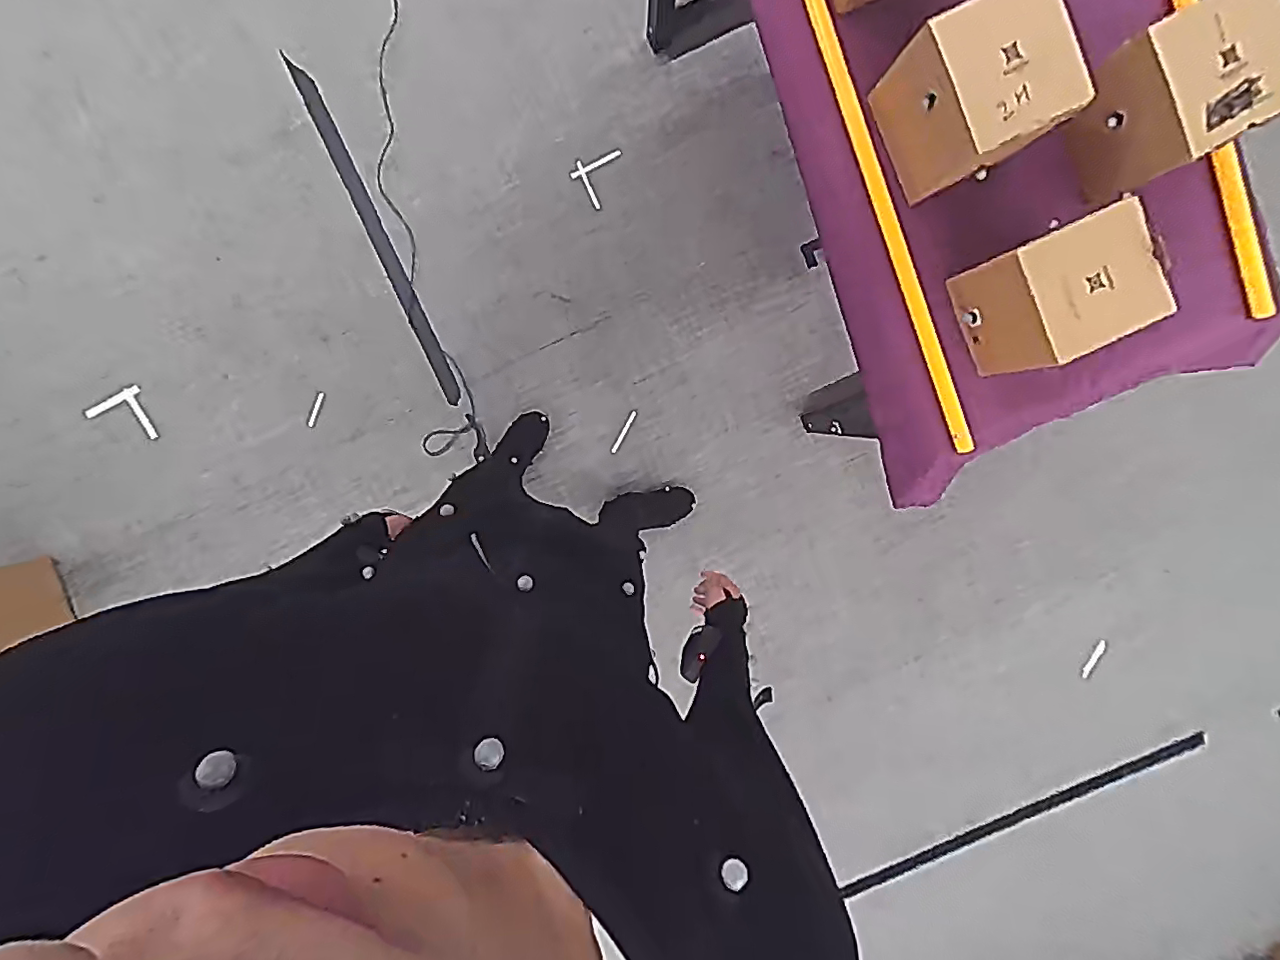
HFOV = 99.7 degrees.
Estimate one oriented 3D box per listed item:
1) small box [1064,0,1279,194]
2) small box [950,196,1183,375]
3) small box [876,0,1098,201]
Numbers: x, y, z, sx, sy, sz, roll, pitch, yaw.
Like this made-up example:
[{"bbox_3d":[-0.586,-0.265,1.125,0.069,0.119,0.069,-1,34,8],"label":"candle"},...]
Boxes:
[{"bbox_3d":[0.740,-0.528,0.747,0.168,0.176,0.179,-27,96,4],"label":"small box"},{"bbox_3d":[0.597,-0.265,0.778,0.179,0.176,0.168,-25,96,0],"label":"small box"},{"bbox_3d":[0.458,-0.527,0.743,0.168,0.176,0.179,-26,97,1],"label":"small box"}]
